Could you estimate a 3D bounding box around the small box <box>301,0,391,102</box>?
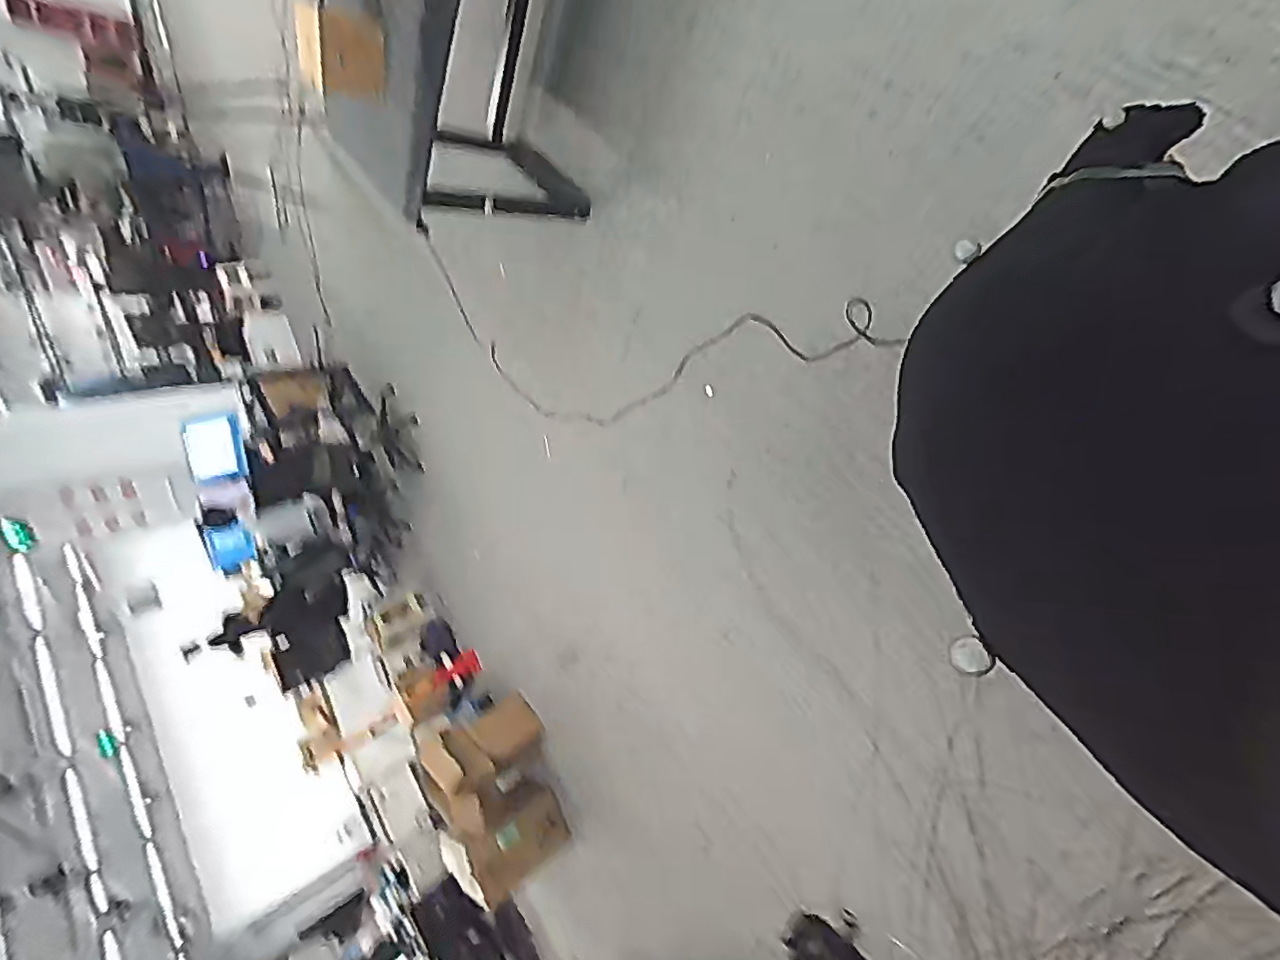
[{"bbox_3d":[-0.798,-1.164,1.473,0.168,0.176,0.179,42,130,27],"label":"small box"}]
